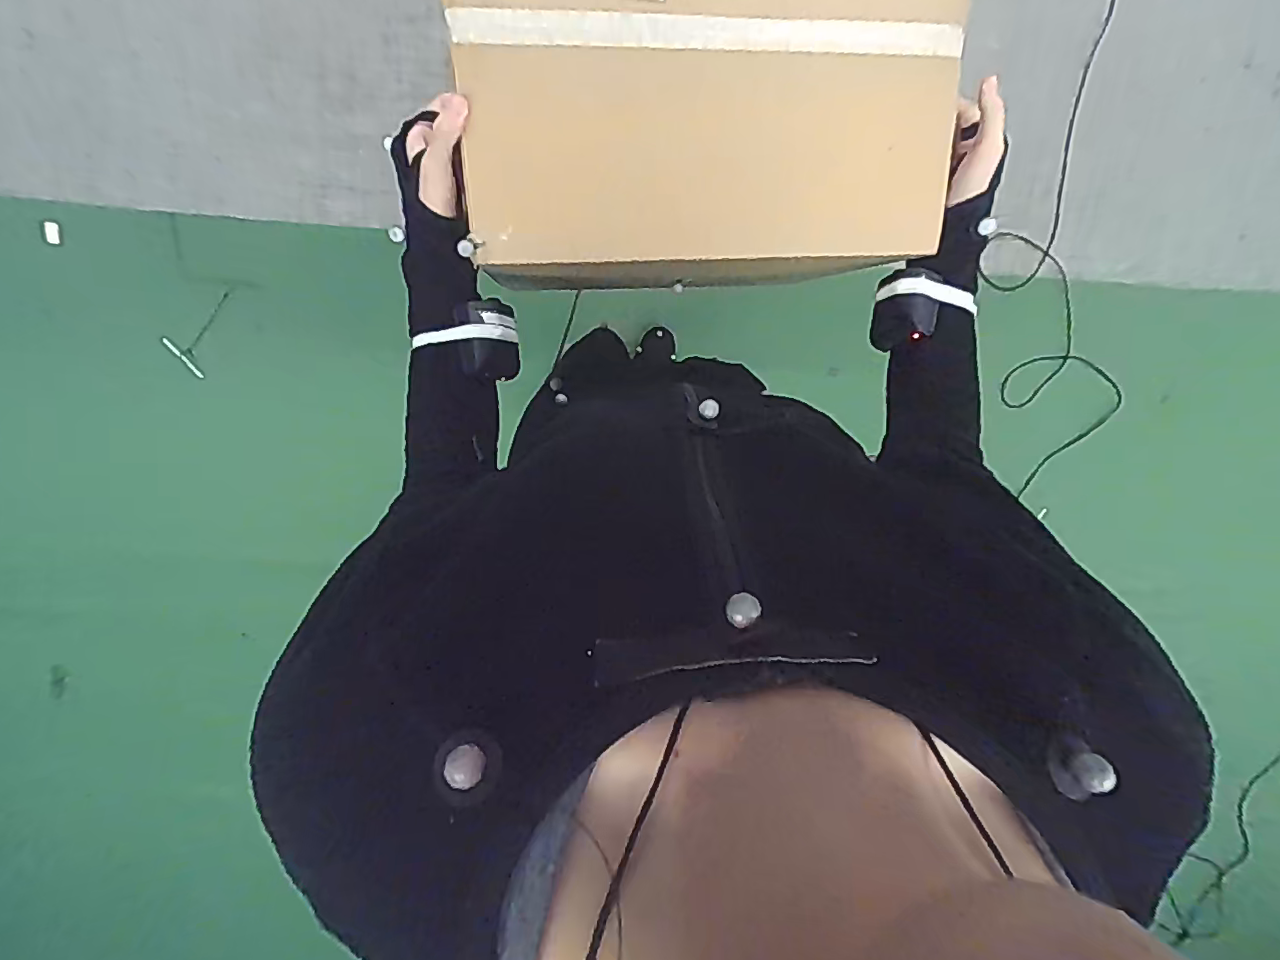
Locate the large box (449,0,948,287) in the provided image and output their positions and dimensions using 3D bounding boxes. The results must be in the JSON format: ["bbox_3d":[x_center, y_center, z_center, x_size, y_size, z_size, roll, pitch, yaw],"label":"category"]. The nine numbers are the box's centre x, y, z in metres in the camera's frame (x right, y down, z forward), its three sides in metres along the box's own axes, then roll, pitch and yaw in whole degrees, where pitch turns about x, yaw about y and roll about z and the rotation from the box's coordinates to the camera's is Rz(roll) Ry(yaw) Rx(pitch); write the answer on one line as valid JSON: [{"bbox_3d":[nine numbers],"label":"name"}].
[{"bbox_3d":[0.037,-0.382,0.571,0.408,0.320,0.320,-4,105,-7],"label":"large box"}]
